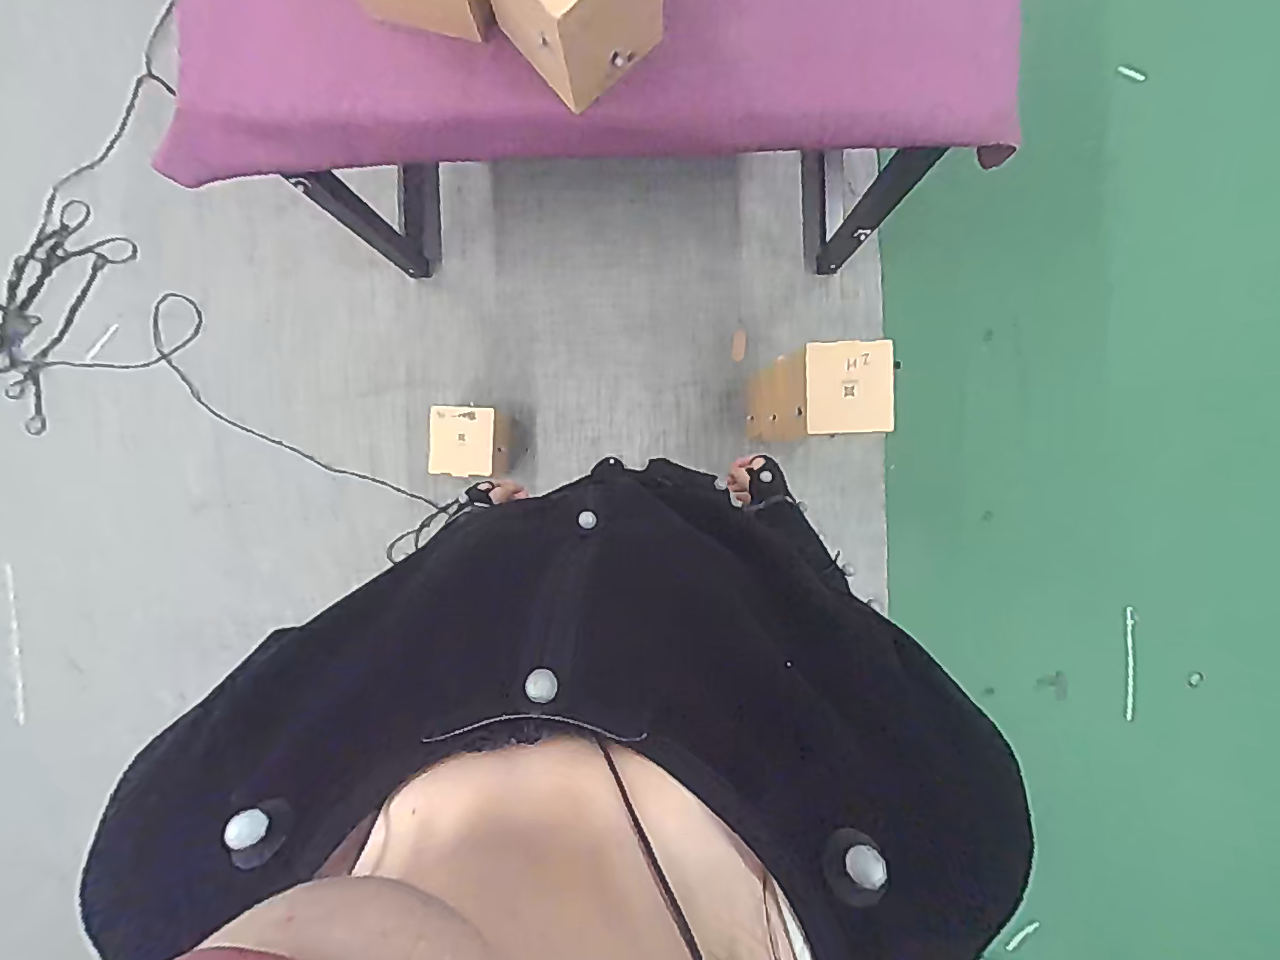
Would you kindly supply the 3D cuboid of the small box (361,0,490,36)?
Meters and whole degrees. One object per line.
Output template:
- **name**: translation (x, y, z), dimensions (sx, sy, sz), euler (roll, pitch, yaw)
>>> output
- **small box**: translation (-0.297, -0.727, 0.698), dimensions (0.179, 0.176, 0.168), euler (12, 92, 0)

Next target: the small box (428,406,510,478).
- **small box**: translation (-0.450, -0.100, 1.442), dimensions (0.168, 0.176, 0.179), euler (2, 92, 1)

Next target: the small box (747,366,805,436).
- **small box**: translation (0.380, -0.204, 1.424), dimensions (0.179, 0.176, 0.168), euler (0, 92, 1)

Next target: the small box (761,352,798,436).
- **small box**: translation (0.382, -0.197, 1.263), dimensions (0.168, 0.176, 0.179), euler (-3, 93, 1)

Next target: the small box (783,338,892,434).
- **small box**: translation (0.394, -0.182, 1.099), dimensions (0.168, 0.176, 0.179), euler (-2, 93, 1)
